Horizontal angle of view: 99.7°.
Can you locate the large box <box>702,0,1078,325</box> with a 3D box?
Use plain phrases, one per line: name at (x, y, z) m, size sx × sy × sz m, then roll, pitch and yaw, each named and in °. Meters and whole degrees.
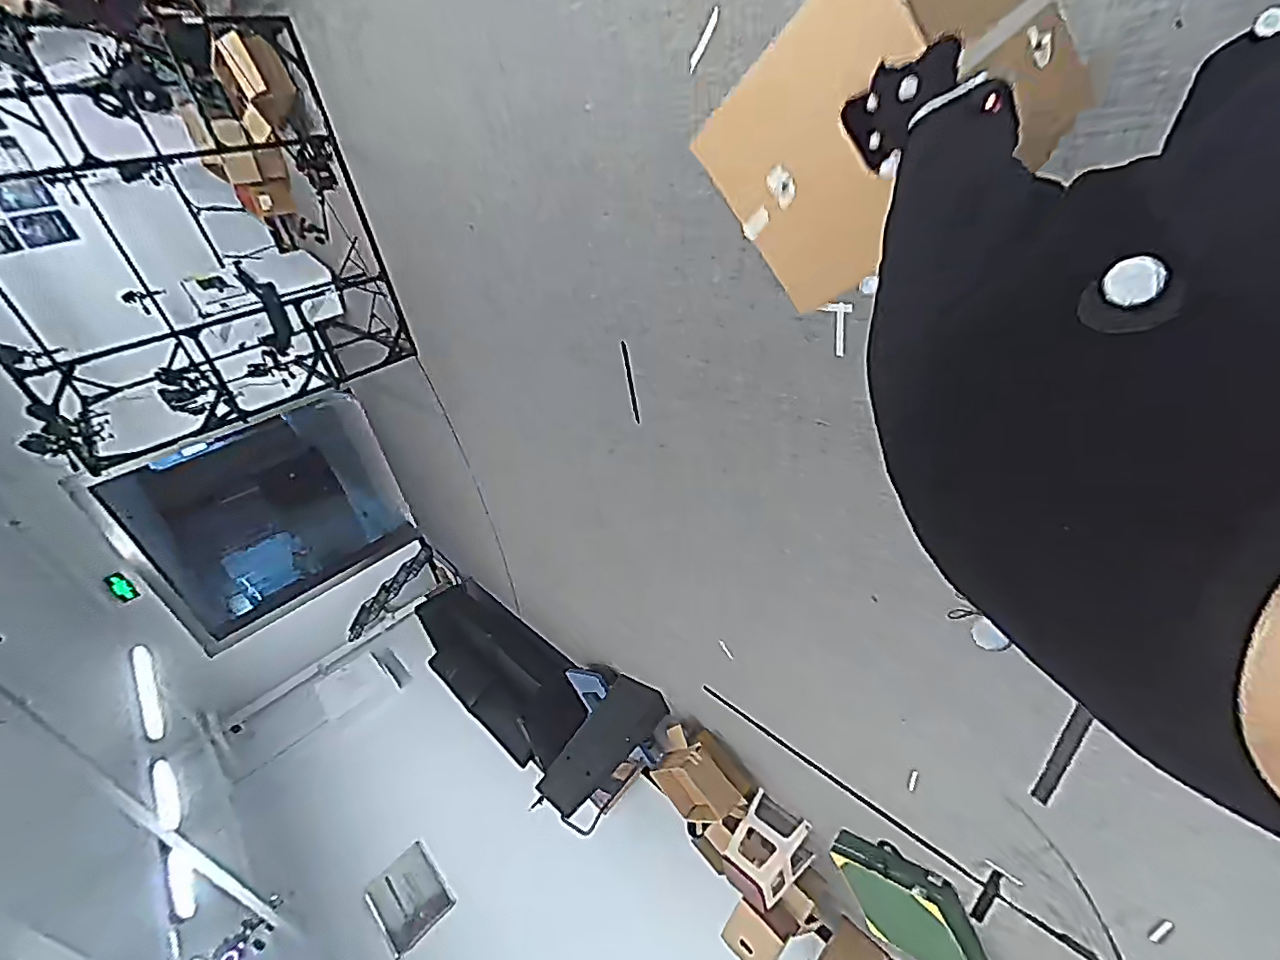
large box at (0.371, -0.511, 0.819) m, size 0.320 × 0.408 × 0.320 m, roll 51°, pitch 151°, yaw -11°
